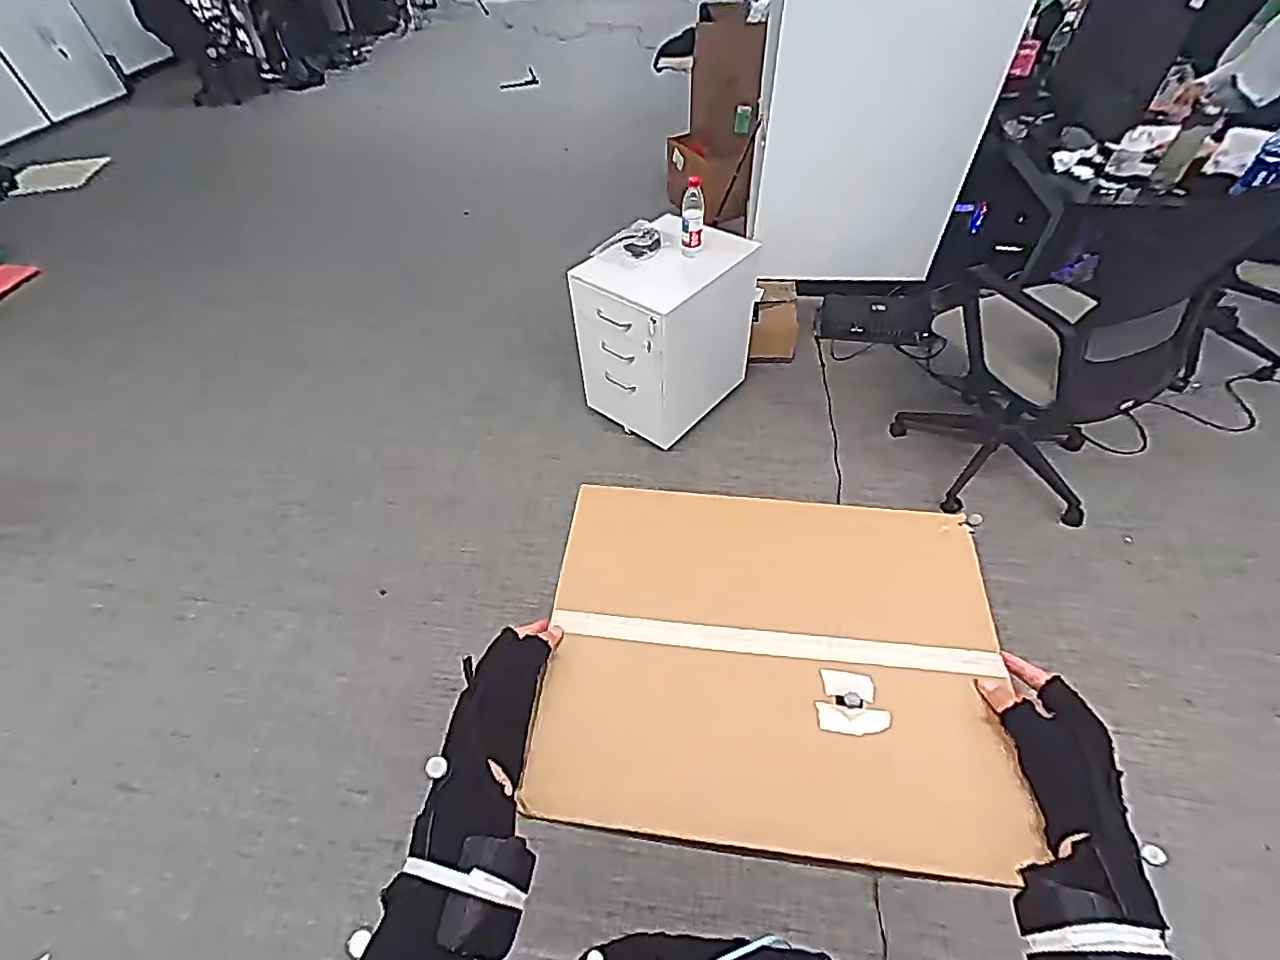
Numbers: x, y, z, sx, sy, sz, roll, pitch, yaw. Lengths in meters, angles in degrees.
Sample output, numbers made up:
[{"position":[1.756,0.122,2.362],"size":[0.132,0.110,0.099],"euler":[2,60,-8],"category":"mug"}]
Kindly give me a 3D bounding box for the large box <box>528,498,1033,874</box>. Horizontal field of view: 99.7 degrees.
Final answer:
[{"position":[0.122,0.242,0.630],"size":[0.408,0.320,0.320],"euler":[4,57,6],"category":"large box"}]
